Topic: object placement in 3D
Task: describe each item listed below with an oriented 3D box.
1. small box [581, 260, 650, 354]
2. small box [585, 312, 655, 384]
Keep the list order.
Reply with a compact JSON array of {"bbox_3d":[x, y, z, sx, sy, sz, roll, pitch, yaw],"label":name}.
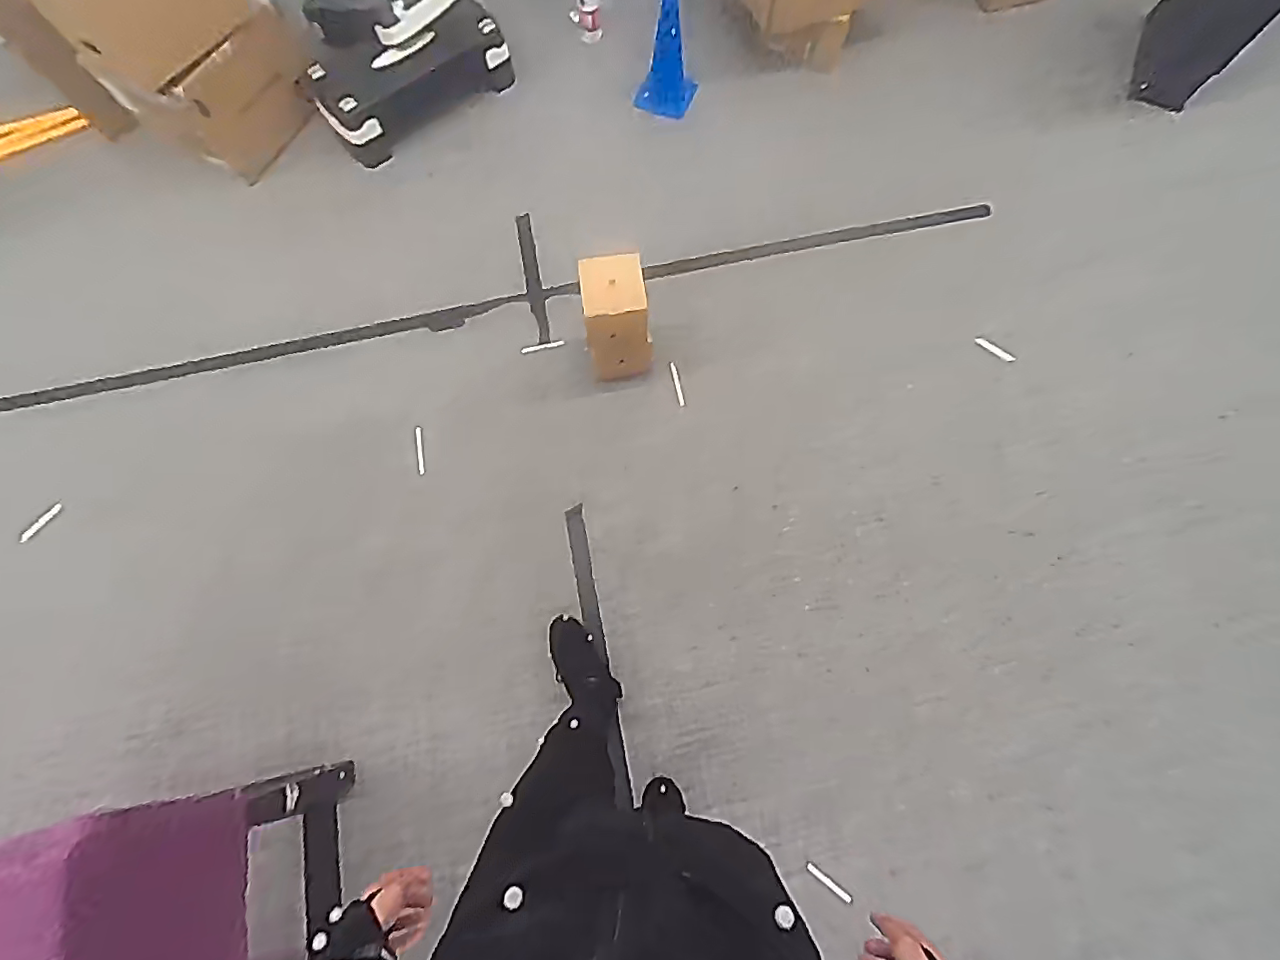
[{"bbox_3d":[-0.067,-0.470,1.481,0.168,0.176,0.179,-8,73,-3],"label":"small box"},{"bbox_3d":[-0.060,-0.410,1.632,0.179,0.176,0.168,-13,73,-3],"label":"small box"}]
